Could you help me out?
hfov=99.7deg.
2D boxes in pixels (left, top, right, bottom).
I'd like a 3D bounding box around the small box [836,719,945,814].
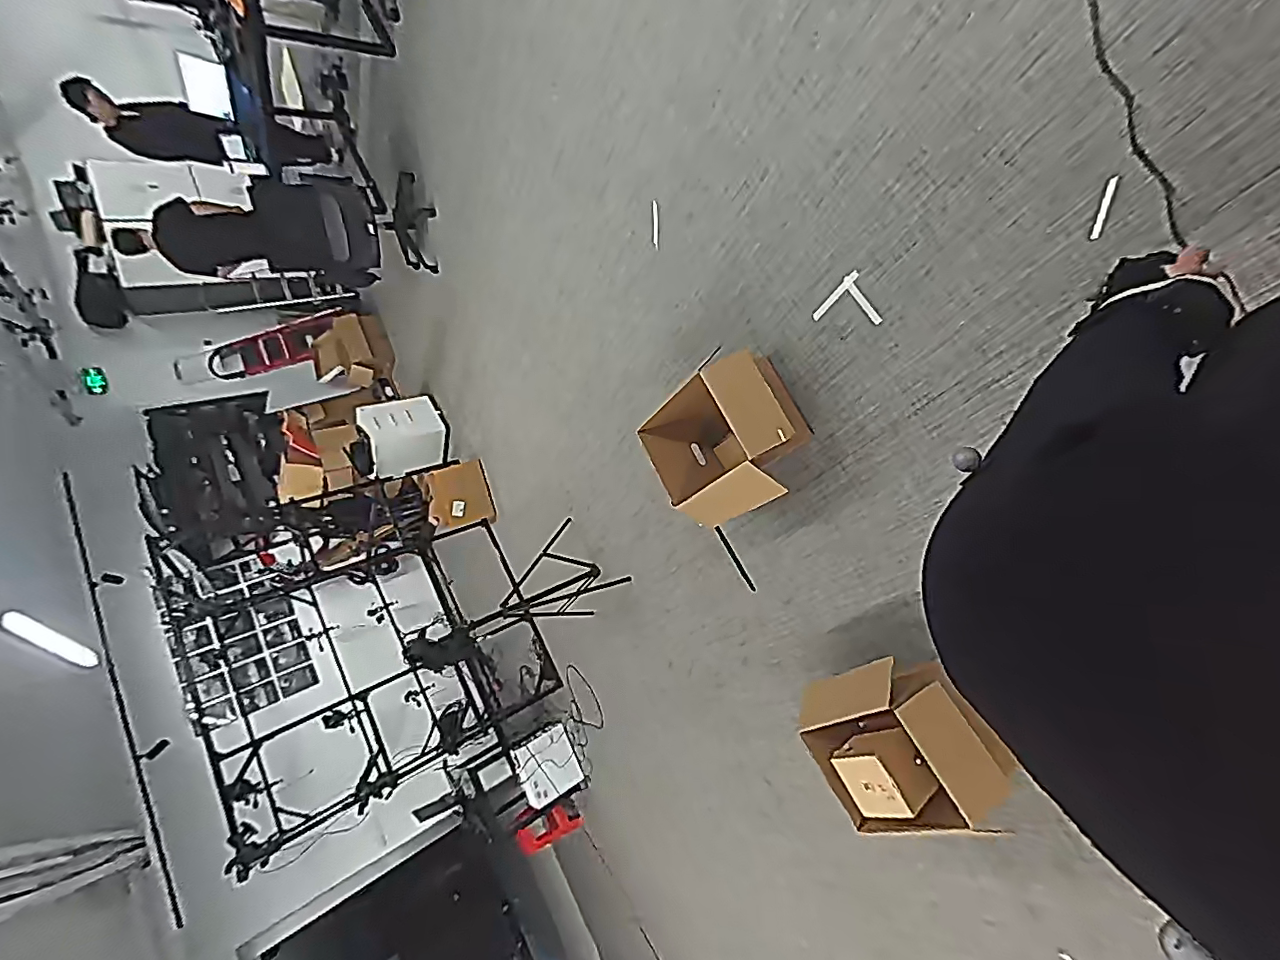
[{"bbox_3d":[0.684,0.780,1.477,0.168,0.176,0.179,60,144,14],"label":"small box"}]
